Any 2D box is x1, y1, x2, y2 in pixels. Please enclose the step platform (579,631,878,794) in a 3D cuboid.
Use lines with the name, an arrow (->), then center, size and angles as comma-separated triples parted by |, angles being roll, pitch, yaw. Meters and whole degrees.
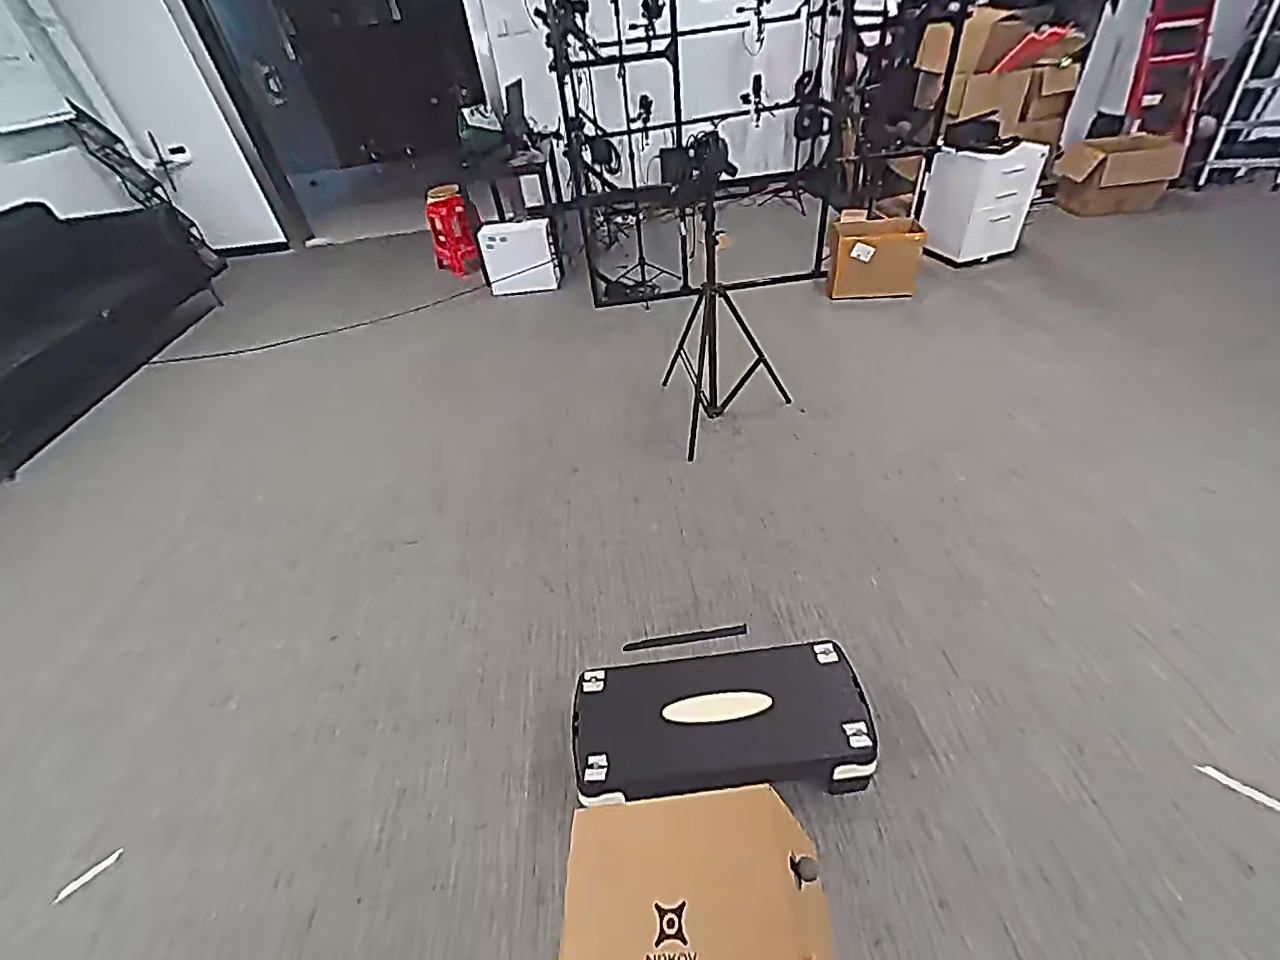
step platform -> 0.195, 0.564, 1.298 | 0.684, 0.204, 0.286 | -8, 40, 1

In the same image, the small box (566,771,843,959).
small box -> 0.056, 0.352, 0.411 | 0.168, 0.176, 0.179 | -17, 40, 16
